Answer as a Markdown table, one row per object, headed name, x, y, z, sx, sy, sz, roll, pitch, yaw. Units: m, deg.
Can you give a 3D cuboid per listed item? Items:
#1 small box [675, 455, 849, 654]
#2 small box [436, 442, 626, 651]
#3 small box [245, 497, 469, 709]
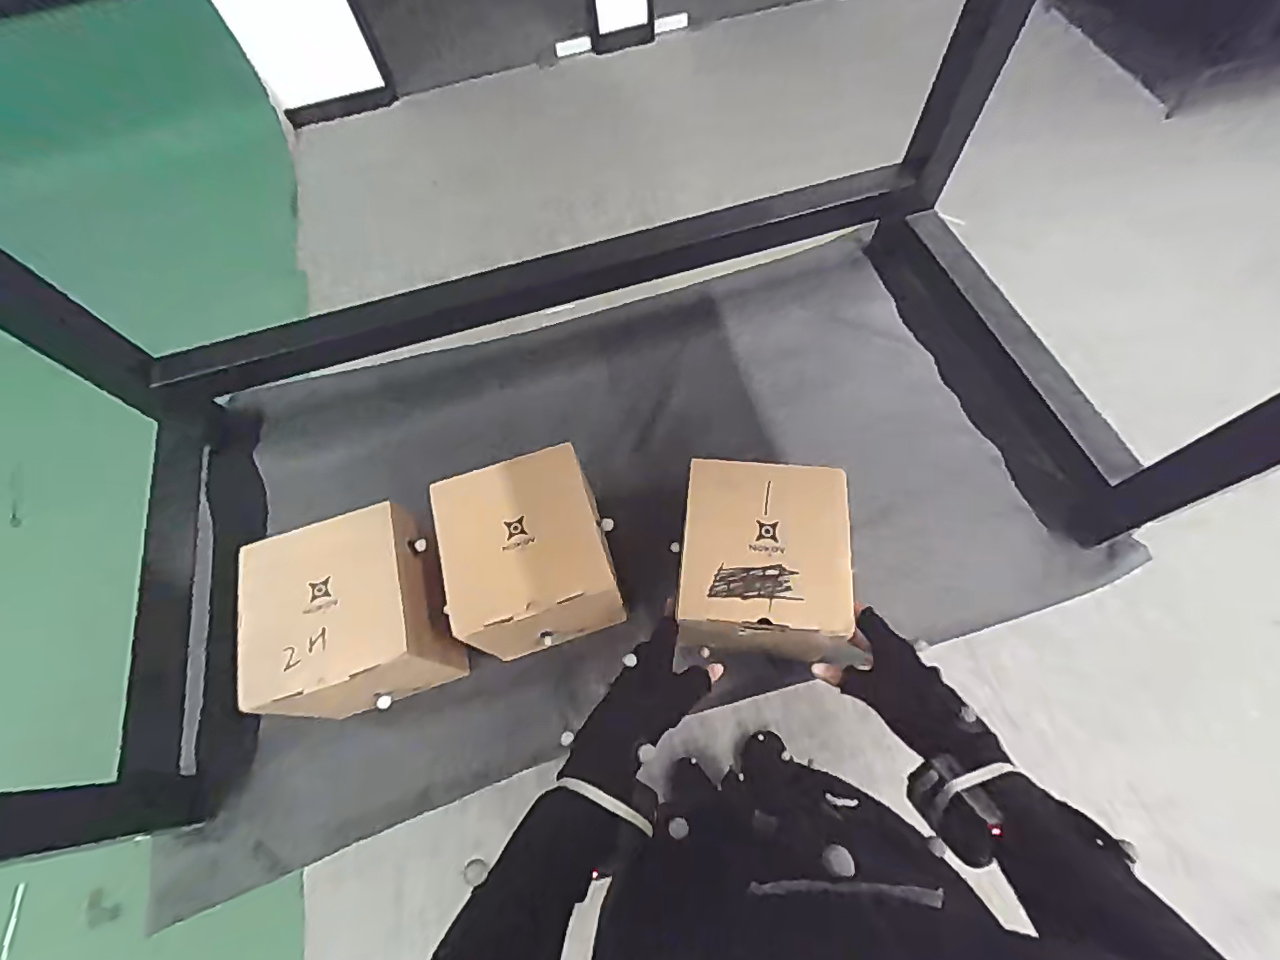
| name | x | y | z | sx | sy | sz | roll | pitch | yaw |
| --- | --- | --- | --- | --- | --- | --- | --- | --- | --- |
| small box | 0.132 | 0.092 | 0.617 | 0.168 | 0.176 | 0.179 | 5 | 63 | 7 |
| small box | -0.122 | 0.086 | 0.644 | 0.168 | 0.176 | 0.179 | -17 | 65 | -4 |
| small box | -0.315 | 0.149 | 0.626 | 0.168 | 0.176 | 0.179 | -18 | 64 | -4 |
